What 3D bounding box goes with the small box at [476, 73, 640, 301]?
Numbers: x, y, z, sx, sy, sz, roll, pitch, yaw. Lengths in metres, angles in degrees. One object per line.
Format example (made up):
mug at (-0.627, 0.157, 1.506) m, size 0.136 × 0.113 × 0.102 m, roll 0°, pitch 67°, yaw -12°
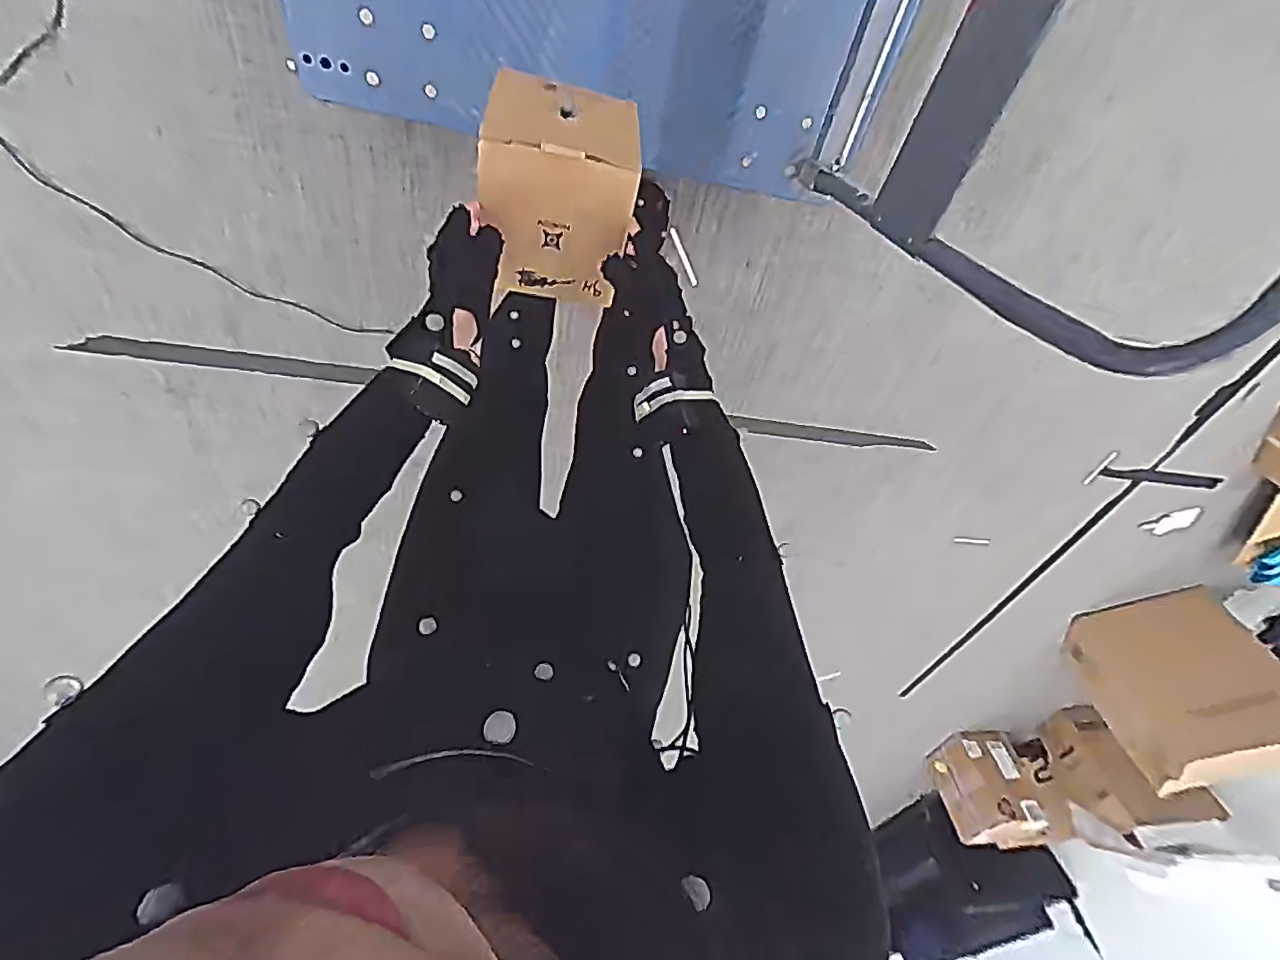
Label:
small box at (-0.103, -0.351, 0.655) m, size 0.168 × 0.176 × 0.179 m, roll 6°, pitch 143°, yaw -13°
